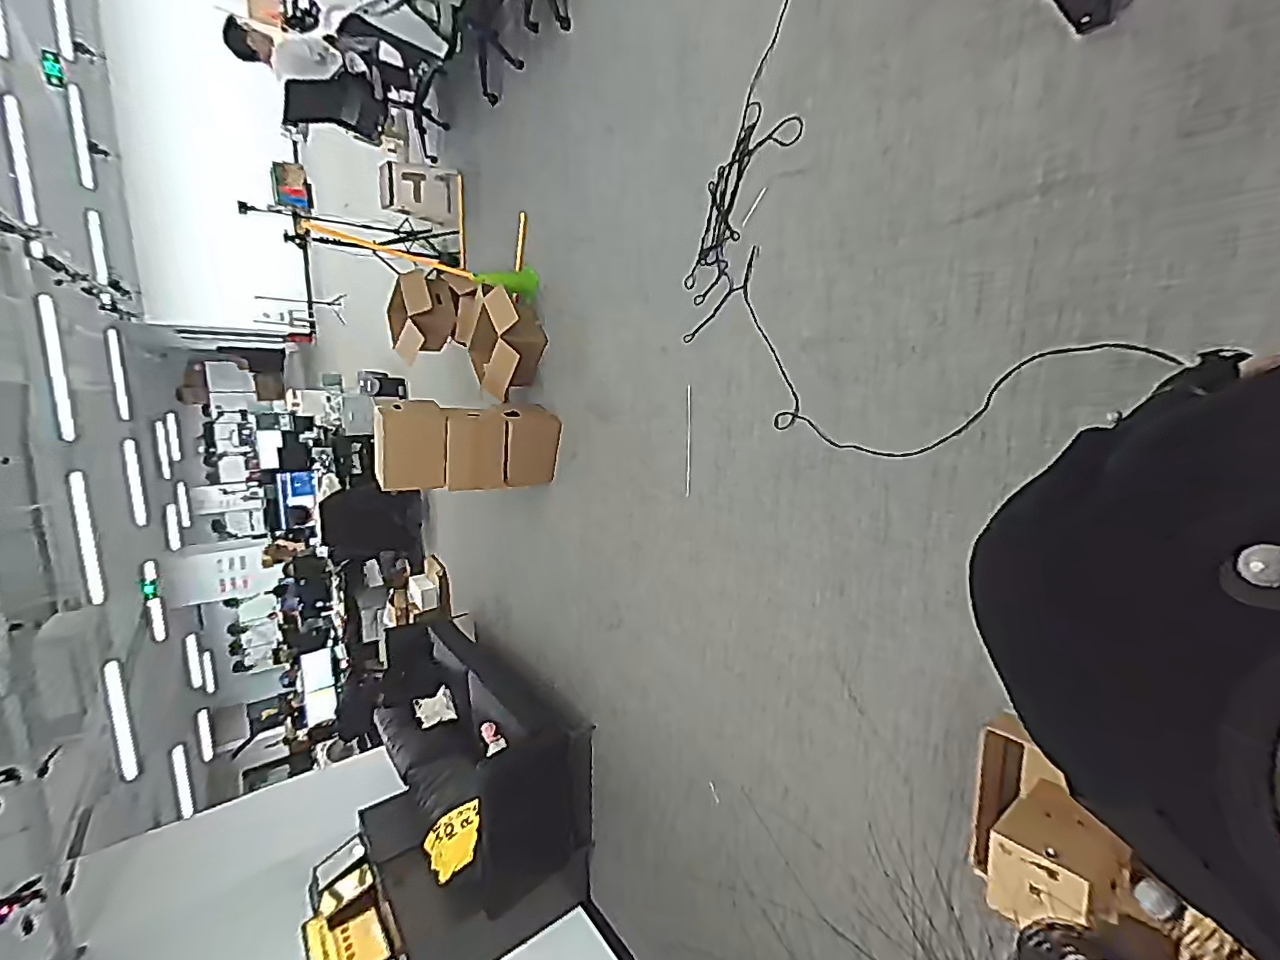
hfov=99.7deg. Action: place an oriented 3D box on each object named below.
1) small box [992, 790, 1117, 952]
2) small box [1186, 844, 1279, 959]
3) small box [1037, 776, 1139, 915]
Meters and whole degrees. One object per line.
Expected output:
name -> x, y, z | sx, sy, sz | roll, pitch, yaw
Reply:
small box -> 0.861, 0.797, 1.124 | 0.168, 0.176, 0.179 | 9, 103, 52
small box -> 1.158, 0.828, 1.003 | 0.179, 0.176, 0.168 | 6, 99, 54
small box -> 0.996, 0.806, 1.219 | 0.179, 0.176, 0.168 | 2, 96, 53
